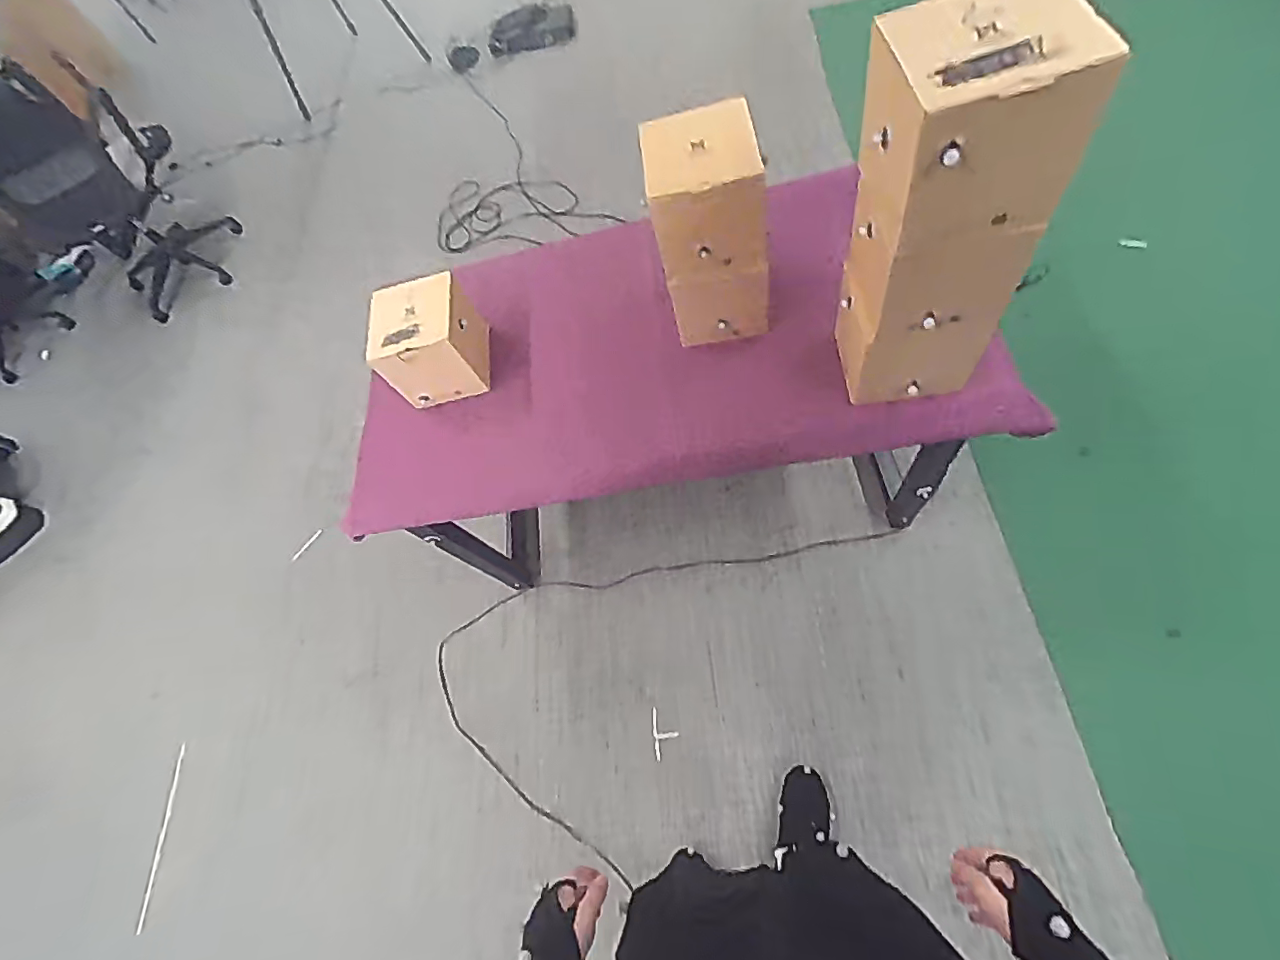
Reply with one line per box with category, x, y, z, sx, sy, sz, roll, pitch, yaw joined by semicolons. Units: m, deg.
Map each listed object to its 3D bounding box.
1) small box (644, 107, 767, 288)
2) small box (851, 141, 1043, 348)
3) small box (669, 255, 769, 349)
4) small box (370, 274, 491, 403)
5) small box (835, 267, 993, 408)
small box;0.105;-0.441;0.861;0.168;0.176;0.179;-9;65;9
small box;0.391;-0.307;0.729;0.168;0.176;0.179;-7;64;12
small box;0.146;-0.371;1.002;0.168;0.176;0.179;-6;65;11
small box;-0.409;-0.271;1.083;0.168;0.176;0.179;-12;63;7
small box;0.425;-0.235;0.872;0.179;0.176;0.168;-6;63;11
